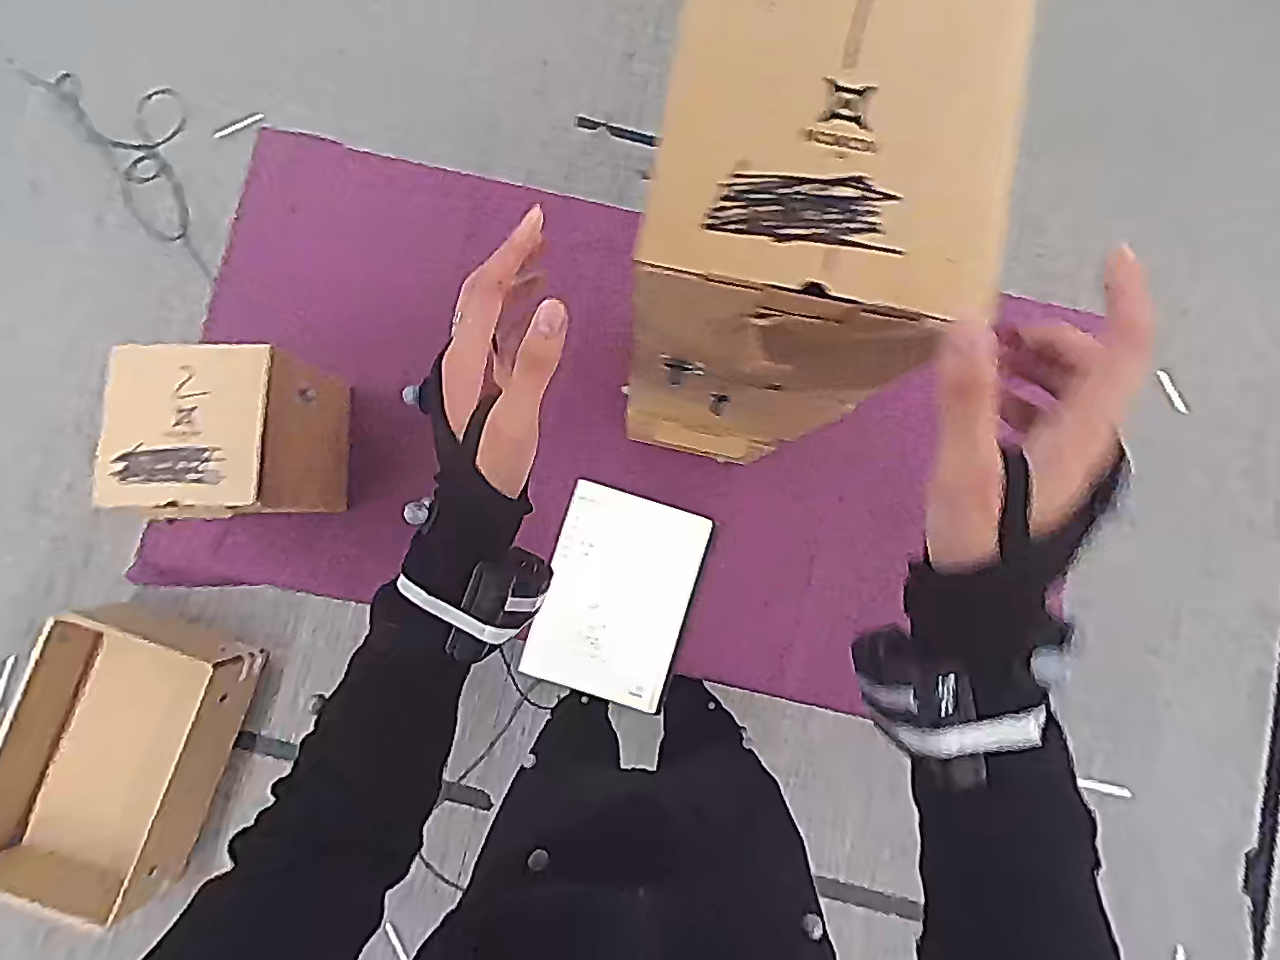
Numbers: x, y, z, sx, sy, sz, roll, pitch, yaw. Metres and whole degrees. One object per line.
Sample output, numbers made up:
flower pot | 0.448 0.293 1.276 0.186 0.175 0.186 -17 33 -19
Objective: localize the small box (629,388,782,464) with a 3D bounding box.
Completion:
small box | 0.088 -0.124 0.652 0.168 0.176 0.179 14 85 0

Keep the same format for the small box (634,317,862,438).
small box | 0.095 -0.141 0.488 0.179 0.176 0.168 12 86 -1

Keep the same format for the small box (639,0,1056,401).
small box | 0.096 -0.158 0.324 0.168 0.176 0.179 11 84 0
